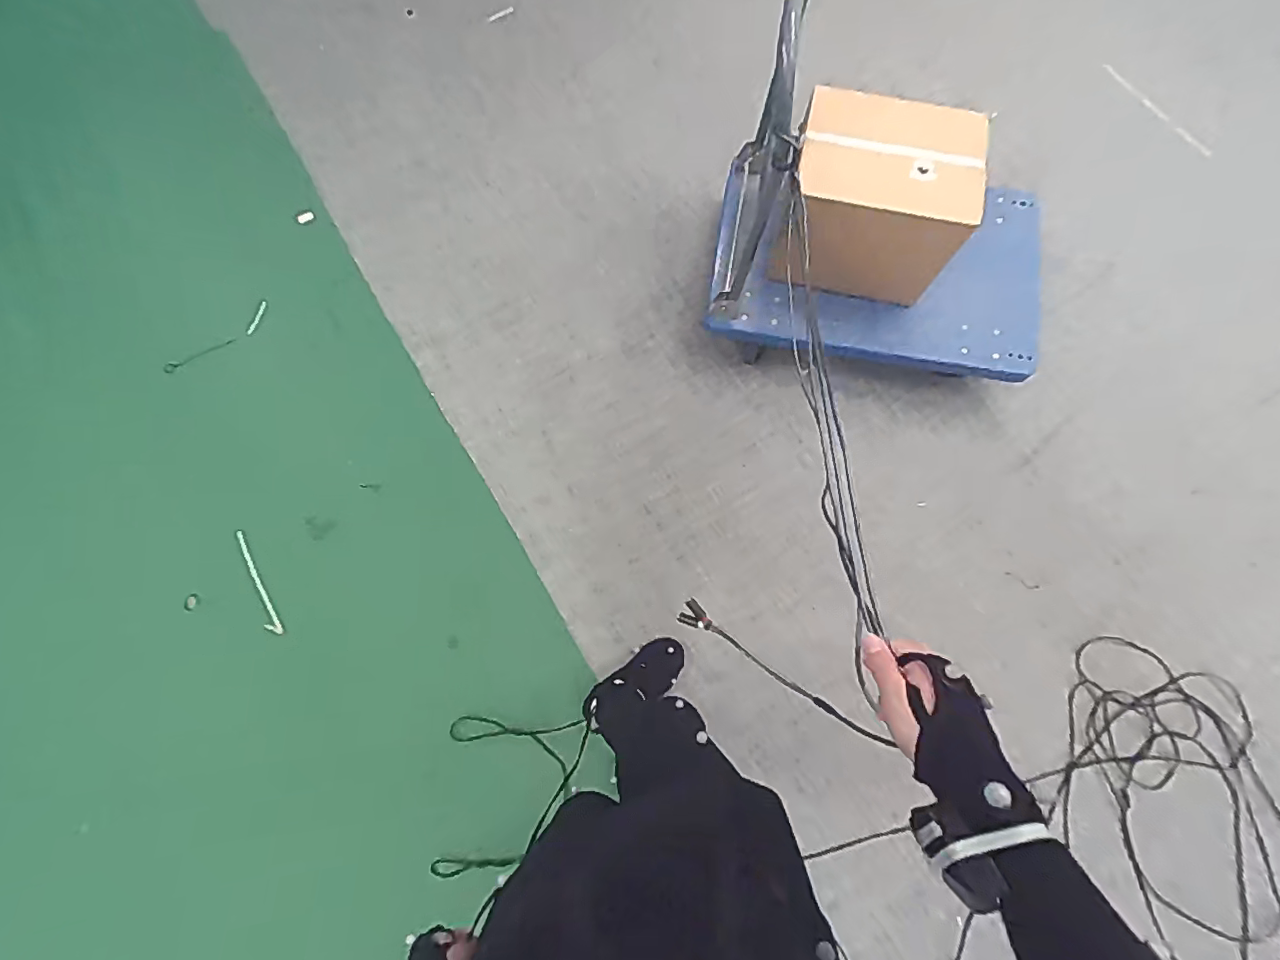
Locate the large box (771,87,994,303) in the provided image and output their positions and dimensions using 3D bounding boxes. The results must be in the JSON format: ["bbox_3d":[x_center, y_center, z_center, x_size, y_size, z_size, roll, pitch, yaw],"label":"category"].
[{"bbox_3d":[0.574,-0.684,1.337,0.408,0.320,0.320,13,76,3],"label":"large box"}]
